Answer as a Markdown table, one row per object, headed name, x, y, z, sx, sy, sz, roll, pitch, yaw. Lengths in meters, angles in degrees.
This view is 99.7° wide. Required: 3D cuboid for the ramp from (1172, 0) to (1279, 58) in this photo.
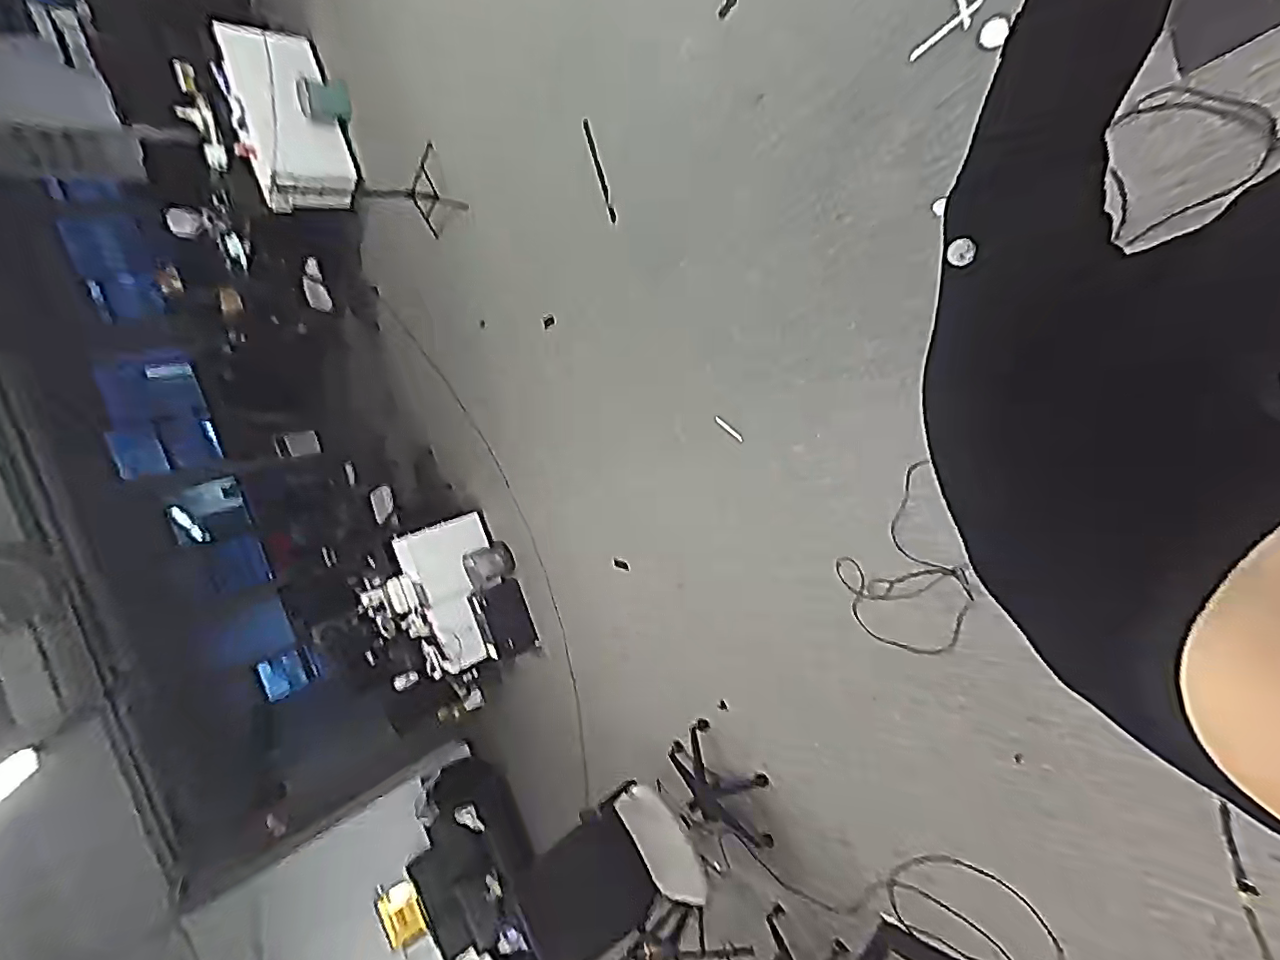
| name | x | y | z | sx | sy | sz | roll | pitch | yaw |
| --- | --- | --- | --- | --- | --- | --- | --- | --- | --- |
| ramp | 0.890 | -1.208 | 0.675 | 0.509 | 0.206 | 0.991 | -16 | 94 | 52 |
